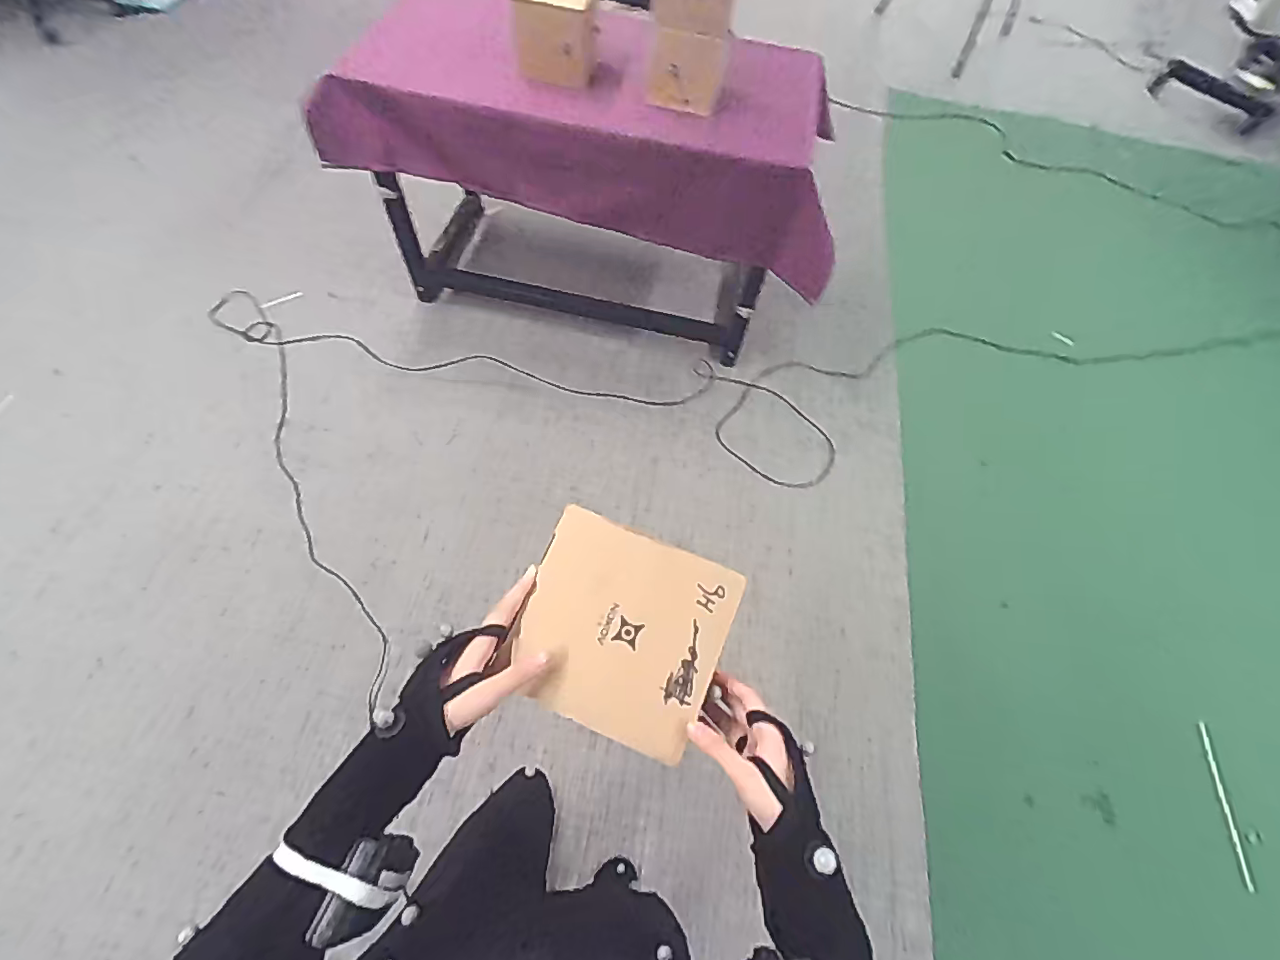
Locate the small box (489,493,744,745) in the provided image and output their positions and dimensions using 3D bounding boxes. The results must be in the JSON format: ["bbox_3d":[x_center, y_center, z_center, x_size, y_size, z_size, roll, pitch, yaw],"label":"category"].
[{"bbox_3d":[-0.016,0.136,0.543,0.179,0.176,0.168,22,76,8],"label":"small box"}]

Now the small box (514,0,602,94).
[{"bbox_3d":[-0.199,-1.116,1.367,0.179,0.176,0.168,13,59,2],"label":"small box"}]

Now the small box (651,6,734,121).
[{"bbox_3d":[0.126,-1.038,1.354,0.168,0.176,0.179,14,59,3],"label":"small box"}]
